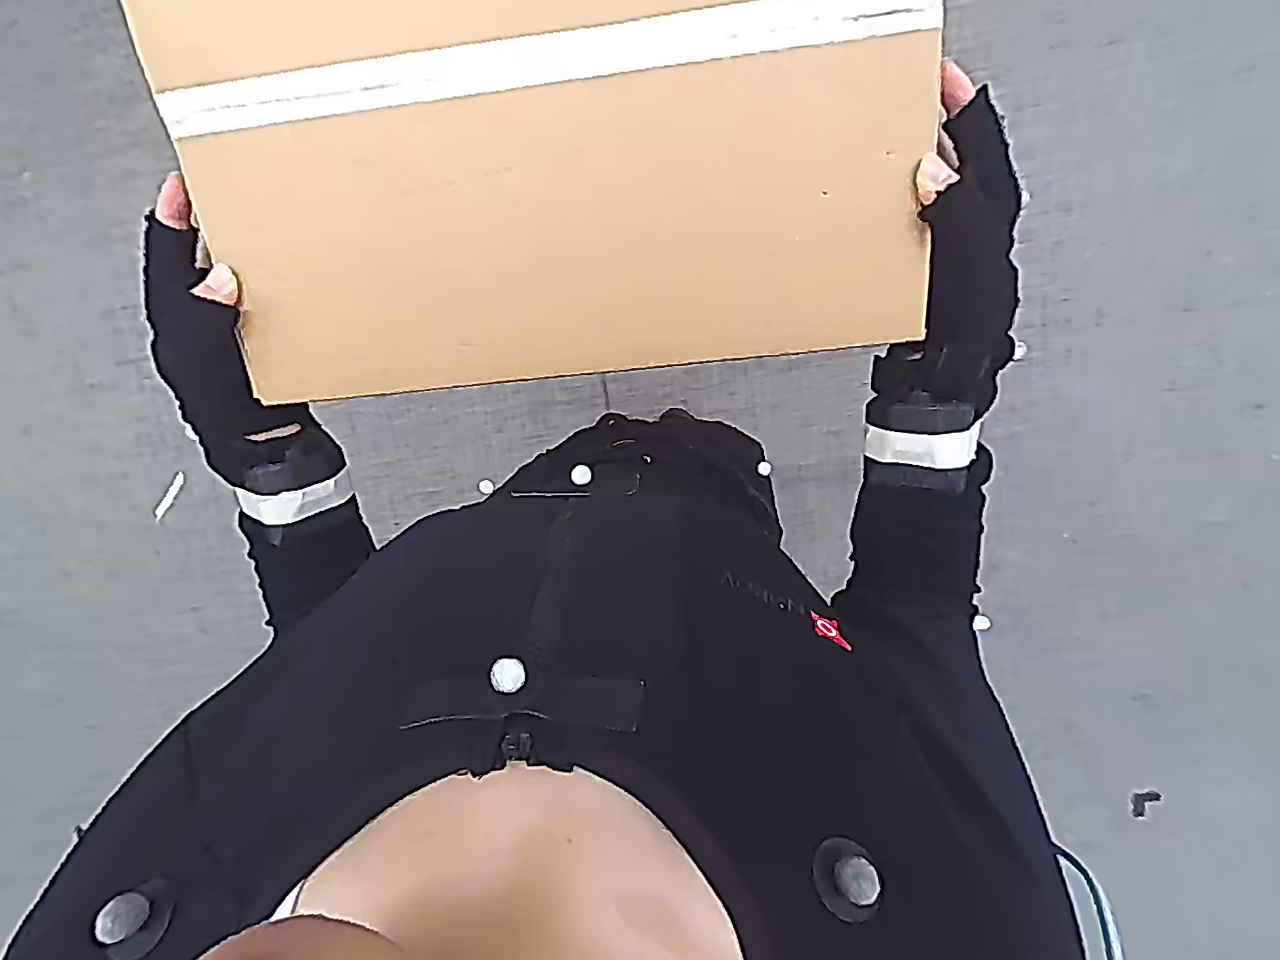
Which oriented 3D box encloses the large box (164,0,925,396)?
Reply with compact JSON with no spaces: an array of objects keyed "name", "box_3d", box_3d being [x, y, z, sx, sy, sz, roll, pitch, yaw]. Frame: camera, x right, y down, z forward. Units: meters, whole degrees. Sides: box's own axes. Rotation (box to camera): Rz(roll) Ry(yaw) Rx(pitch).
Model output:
[{"name":"large box","box_3d":[-0.046,-0.263,0.432,0.408,0.320,0.320,-5,108,4]}]
